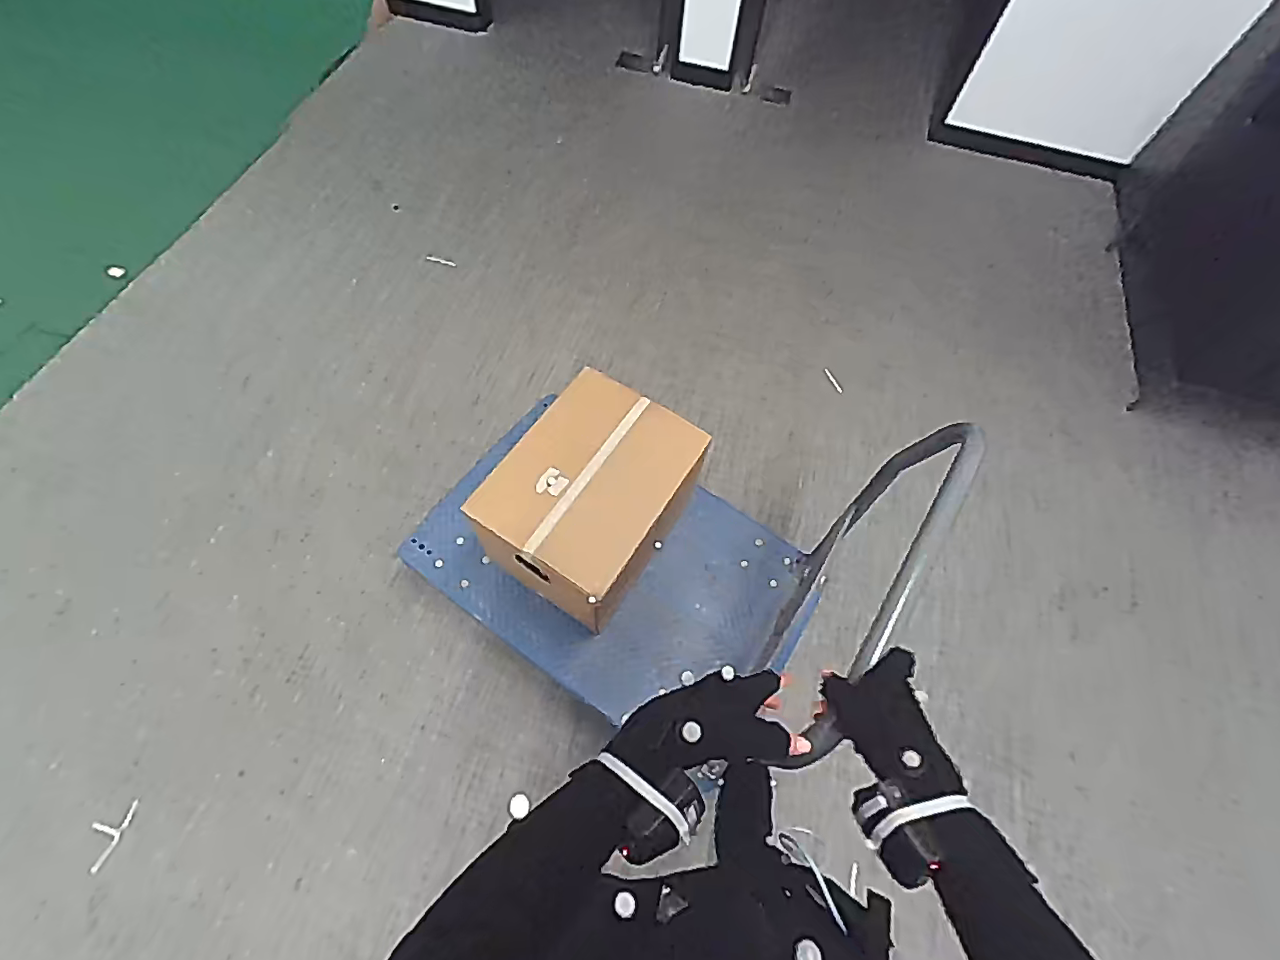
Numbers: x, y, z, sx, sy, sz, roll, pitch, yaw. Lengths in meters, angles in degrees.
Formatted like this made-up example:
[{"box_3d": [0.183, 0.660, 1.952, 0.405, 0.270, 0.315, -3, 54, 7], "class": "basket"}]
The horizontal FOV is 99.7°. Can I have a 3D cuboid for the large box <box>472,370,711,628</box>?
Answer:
[{"box_3d": [-0.093, 0.050, 1.184, 0.320, 0.320, 0.408, 31, 66, 12], "class": "large box"}]
